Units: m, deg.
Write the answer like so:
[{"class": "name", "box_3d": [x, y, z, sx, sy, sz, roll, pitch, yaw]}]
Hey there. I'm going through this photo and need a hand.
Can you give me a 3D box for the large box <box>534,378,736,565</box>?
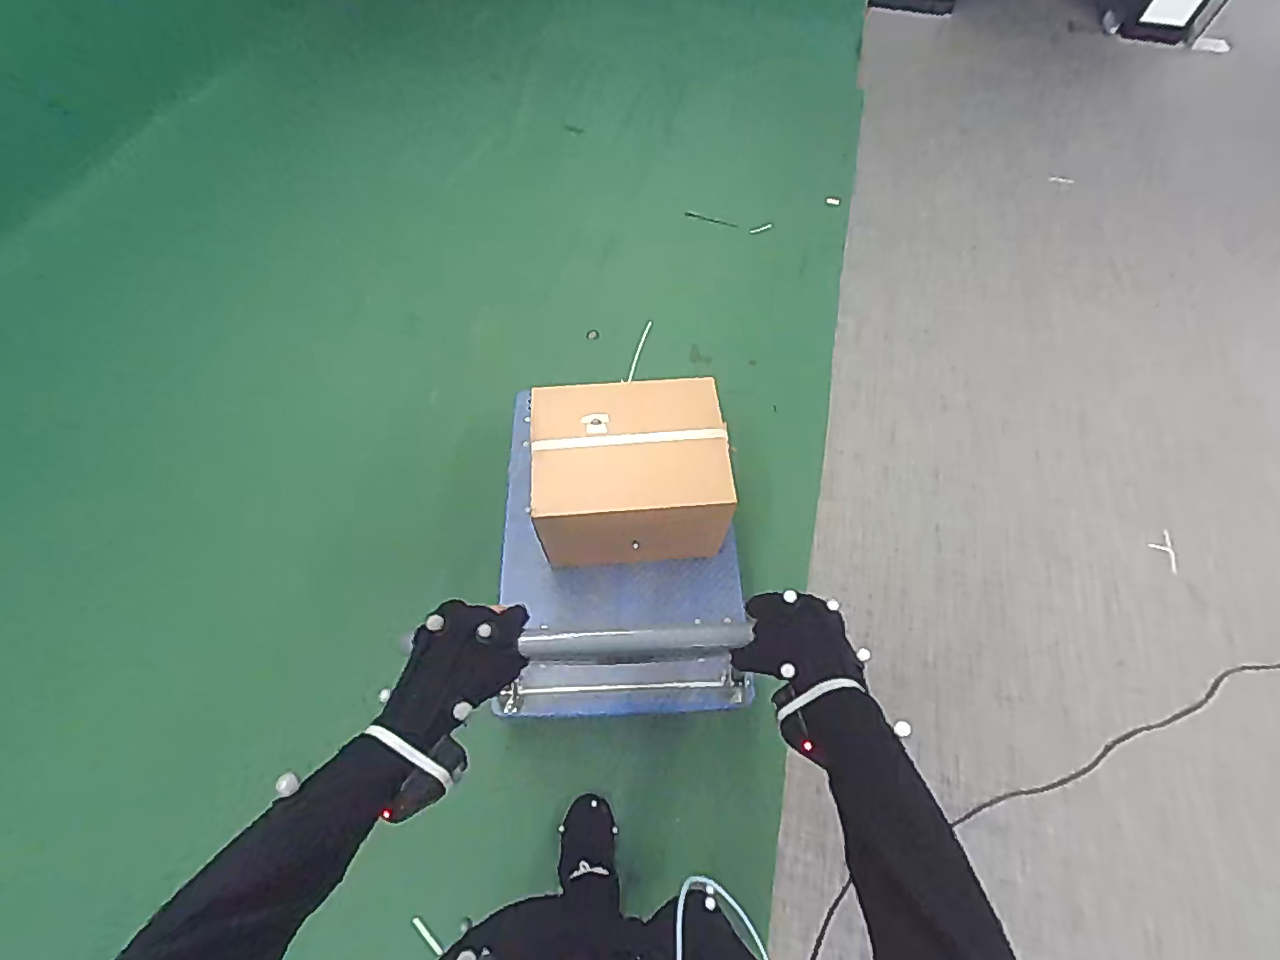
[{"class": "large box", "box_3d": [-0.019, -0.008, 1.266, 0.408, 0.320, 0.320, -5, 62, -3]}]
